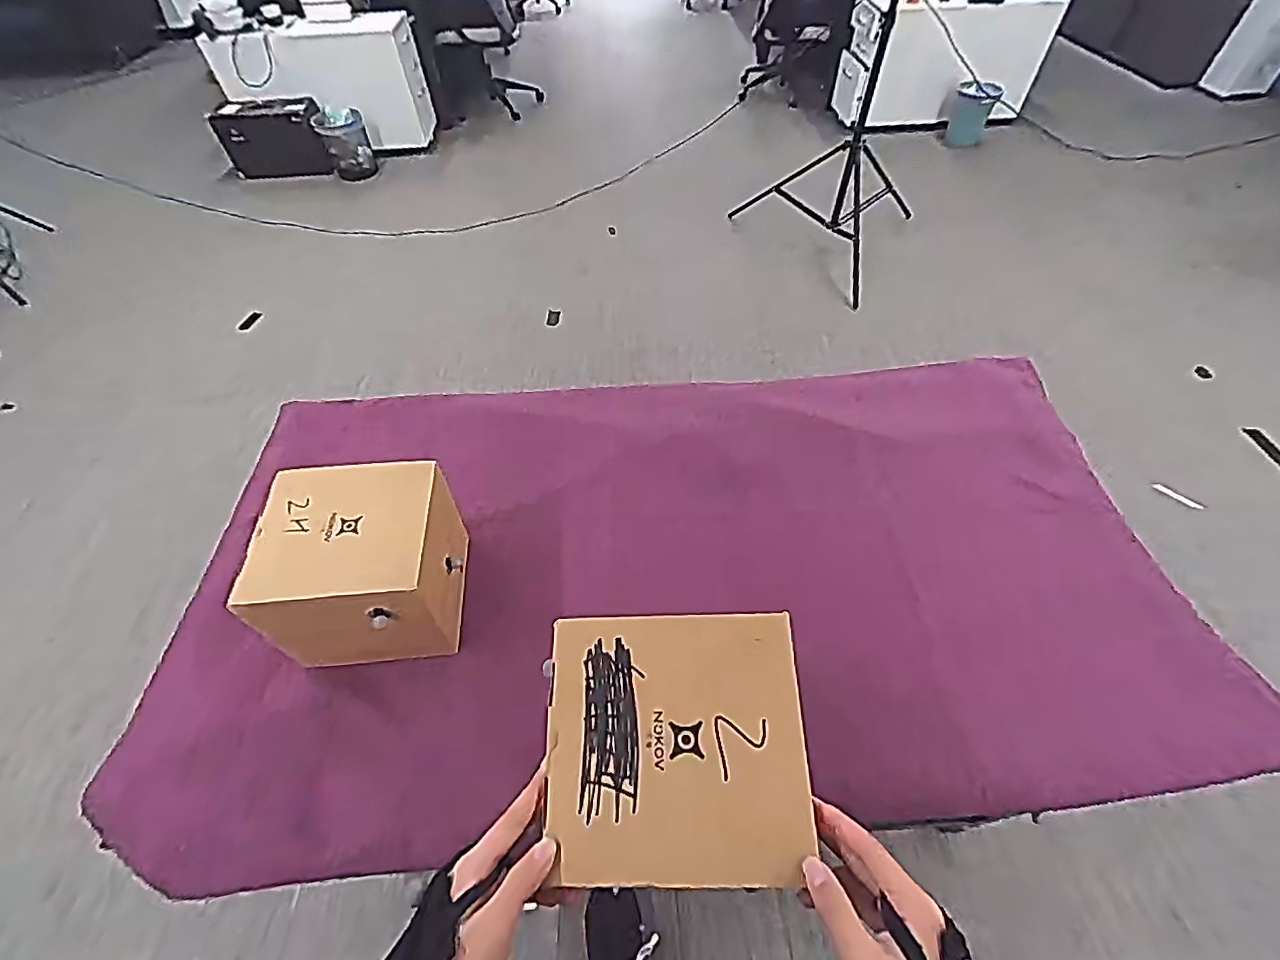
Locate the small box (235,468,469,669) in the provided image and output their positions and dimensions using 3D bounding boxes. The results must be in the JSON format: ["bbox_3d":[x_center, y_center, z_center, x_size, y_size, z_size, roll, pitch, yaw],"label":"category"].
[{"bbox_3d":[-0.305,0.104,0.625,0.179,0.176,0.168,-4,51,-5],"label":"small box"}]
